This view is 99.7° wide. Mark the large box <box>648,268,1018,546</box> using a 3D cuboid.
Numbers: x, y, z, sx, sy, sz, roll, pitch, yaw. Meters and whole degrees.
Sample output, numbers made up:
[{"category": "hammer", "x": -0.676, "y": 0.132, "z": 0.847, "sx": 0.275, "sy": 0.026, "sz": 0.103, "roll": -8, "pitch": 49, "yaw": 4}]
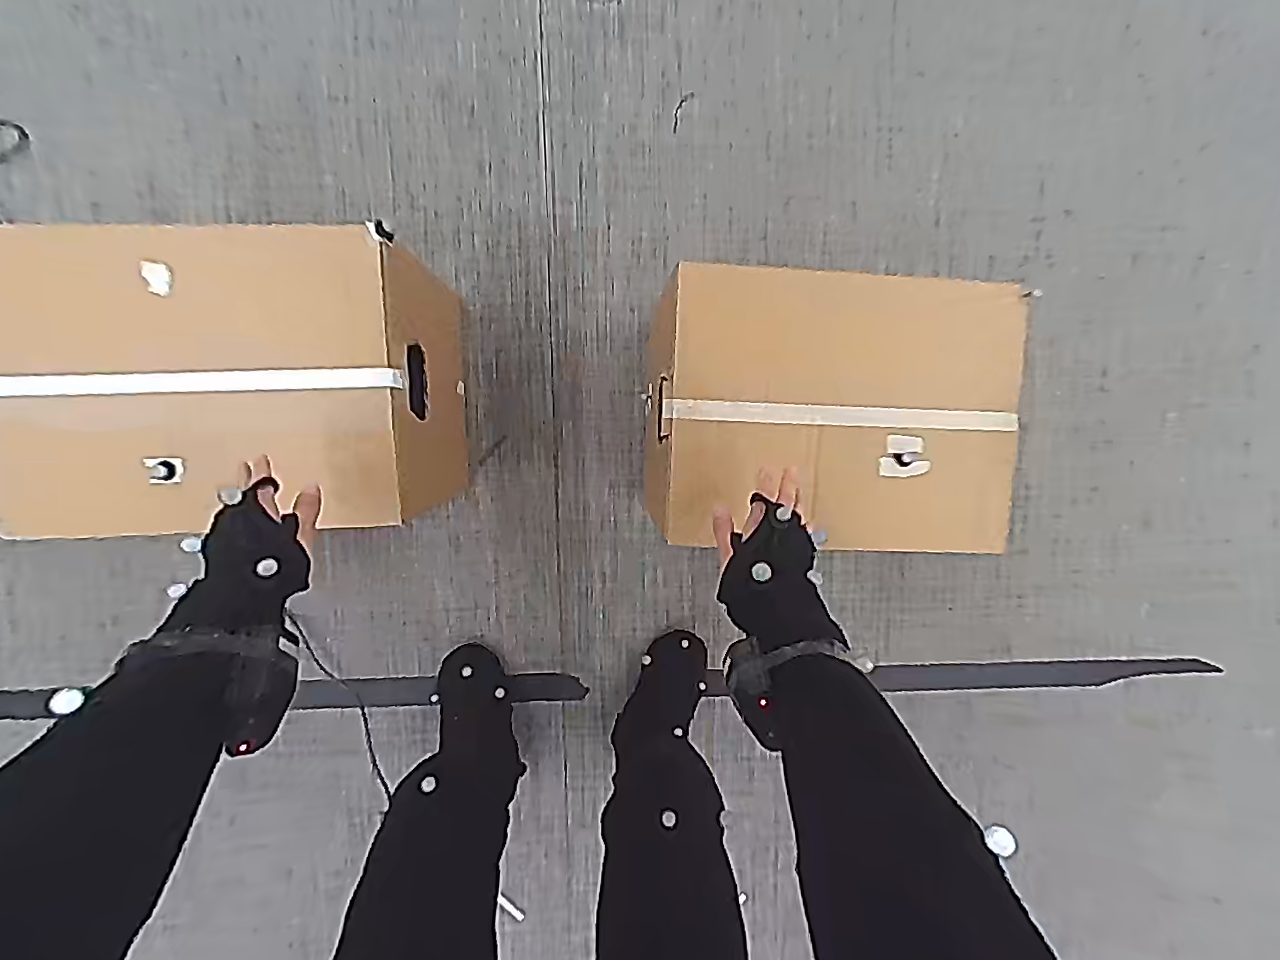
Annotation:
[{"category": "large box", "x": 0.226, "y": -0.089, "z": 0.771, "sx": 0.408, "sy": 0.320, "sz": 0.320, "roll": 2, "pitch": 96, "yaw": -5}]
